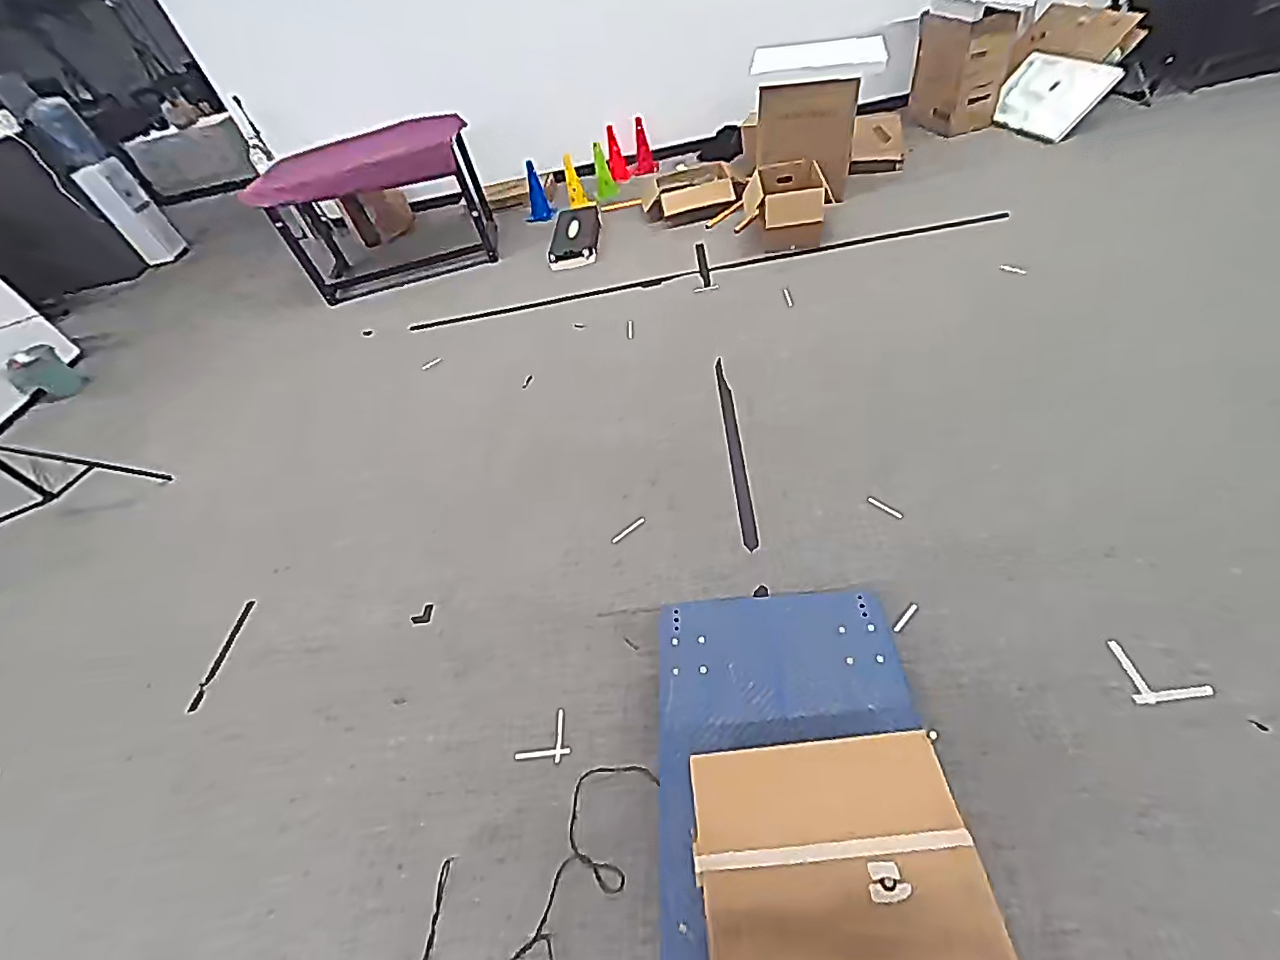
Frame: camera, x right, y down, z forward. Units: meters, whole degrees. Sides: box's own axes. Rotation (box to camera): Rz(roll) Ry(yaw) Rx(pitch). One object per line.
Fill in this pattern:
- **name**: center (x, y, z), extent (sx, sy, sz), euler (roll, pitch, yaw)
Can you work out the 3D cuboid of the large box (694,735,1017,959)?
- **large box**: center (0.322, 0.675, 0.931), extent (0.408, 0.320, 0.320), euler (-9, 47, 5)
